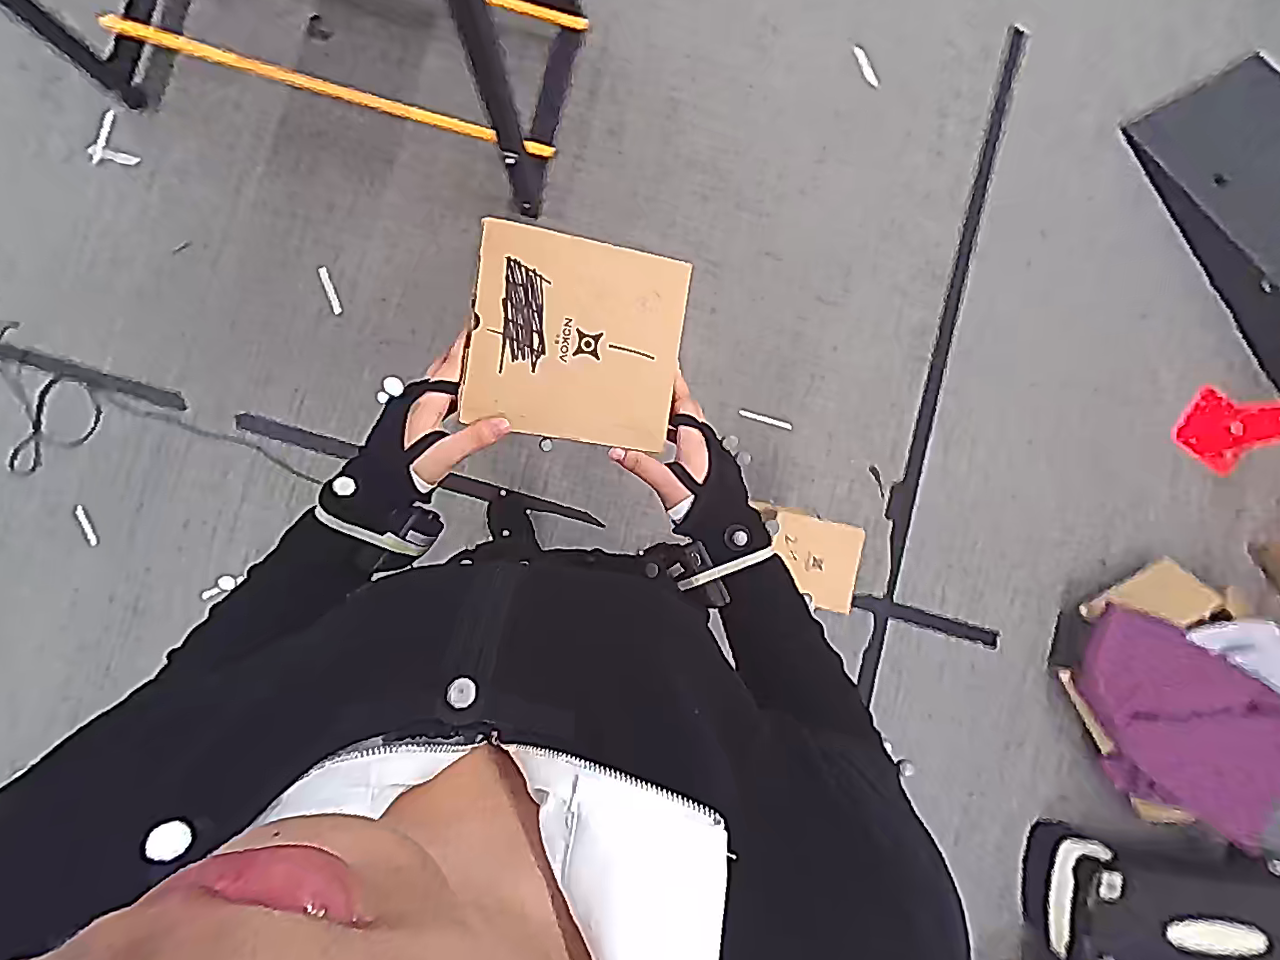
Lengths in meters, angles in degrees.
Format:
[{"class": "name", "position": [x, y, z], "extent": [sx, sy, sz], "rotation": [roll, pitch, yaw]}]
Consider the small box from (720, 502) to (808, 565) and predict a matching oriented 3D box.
[{"class": "small box", "position": [0.323, 0.152, 1.433], "extent": [0.179, 0.176, 0.168], "rotation": [9, 86, 0]}]

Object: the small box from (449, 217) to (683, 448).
[{"class": "small box", "position": [-0.074, -0.123, 0.522], "extent": [0.179, 0.176, 0.168], "rotation": [7, 93, -13]}]

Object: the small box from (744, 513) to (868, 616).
[{"class": "small box", "position": [0.329, 0.164, 1.103], "extent": [0.179, 0.176, 0.168], "rotation": [13, 86, -1]}]

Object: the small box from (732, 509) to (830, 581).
[{"class": "small box", "position": [0.322, 0.162, 1.268], "extent": [0.179, 0.176, 0.168], "rotation": [8, 87, -1]}]
